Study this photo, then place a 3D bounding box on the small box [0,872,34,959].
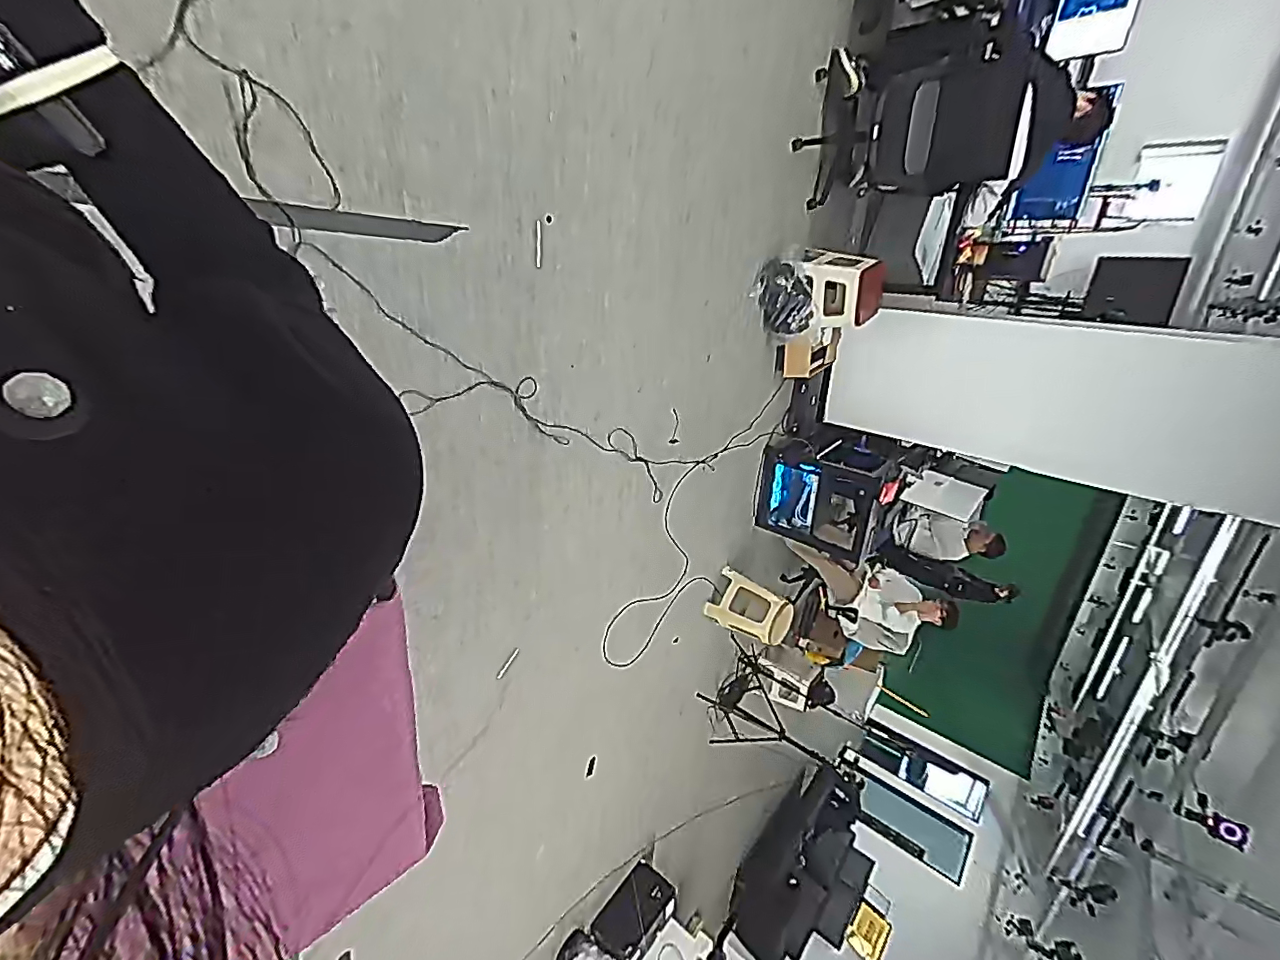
[{"bbox_3d":[-0.716,0.529,0.520,0.168,0.176,0.179,-18,121,-48],"label":"small box"}]
